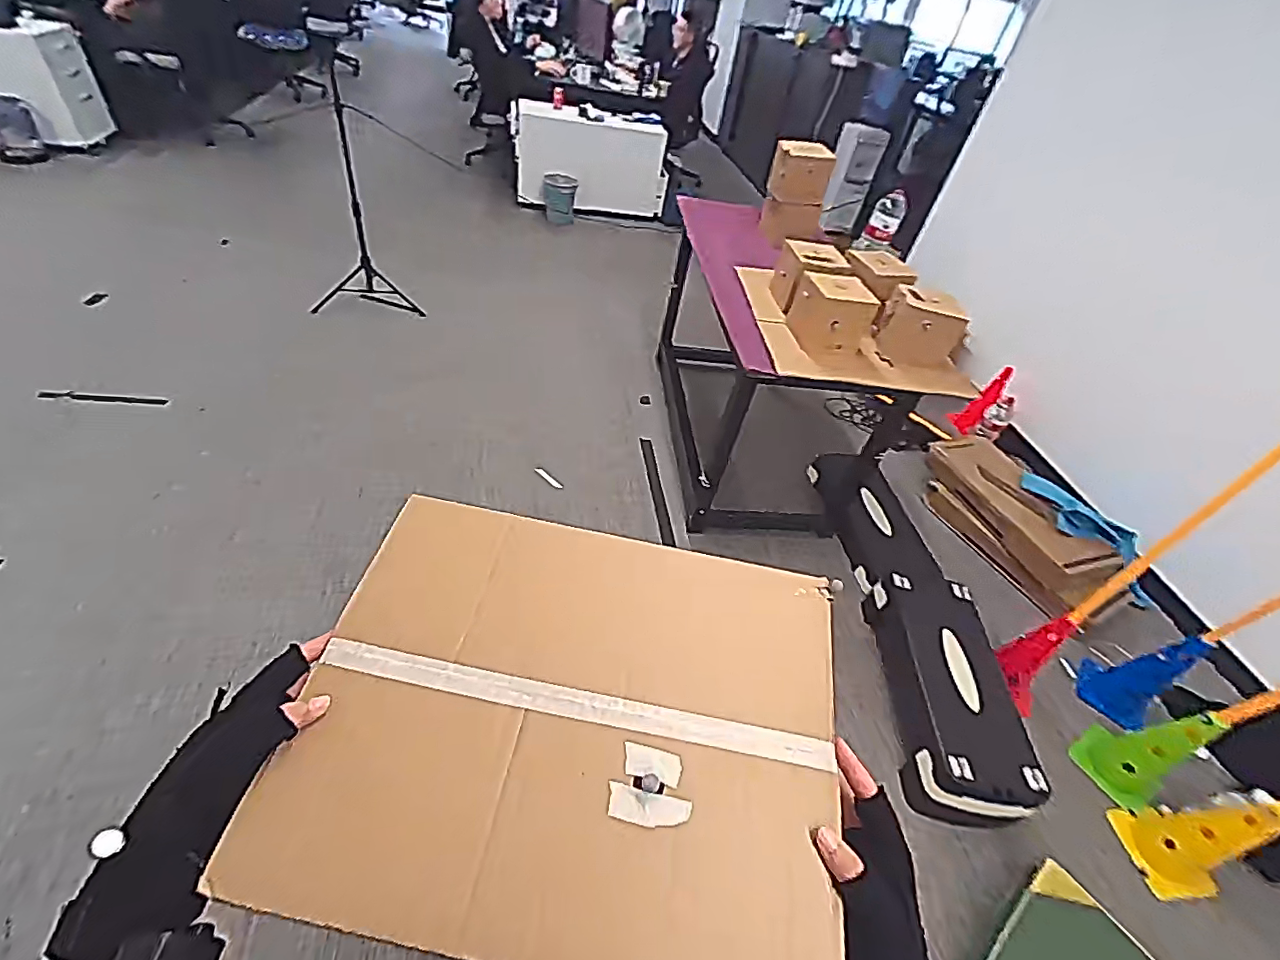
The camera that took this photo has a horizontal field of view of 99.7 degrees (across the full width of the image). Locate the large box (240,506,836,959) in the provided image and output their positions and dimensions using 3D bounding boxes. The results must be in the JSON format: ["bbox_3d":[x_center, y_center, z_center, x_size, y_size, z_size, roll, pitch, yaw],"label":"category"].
[{"bbox_3d":[-0.060,0.269,0.554,0.408,0.320,0.320,12,53,2],"label":"large box"}]
